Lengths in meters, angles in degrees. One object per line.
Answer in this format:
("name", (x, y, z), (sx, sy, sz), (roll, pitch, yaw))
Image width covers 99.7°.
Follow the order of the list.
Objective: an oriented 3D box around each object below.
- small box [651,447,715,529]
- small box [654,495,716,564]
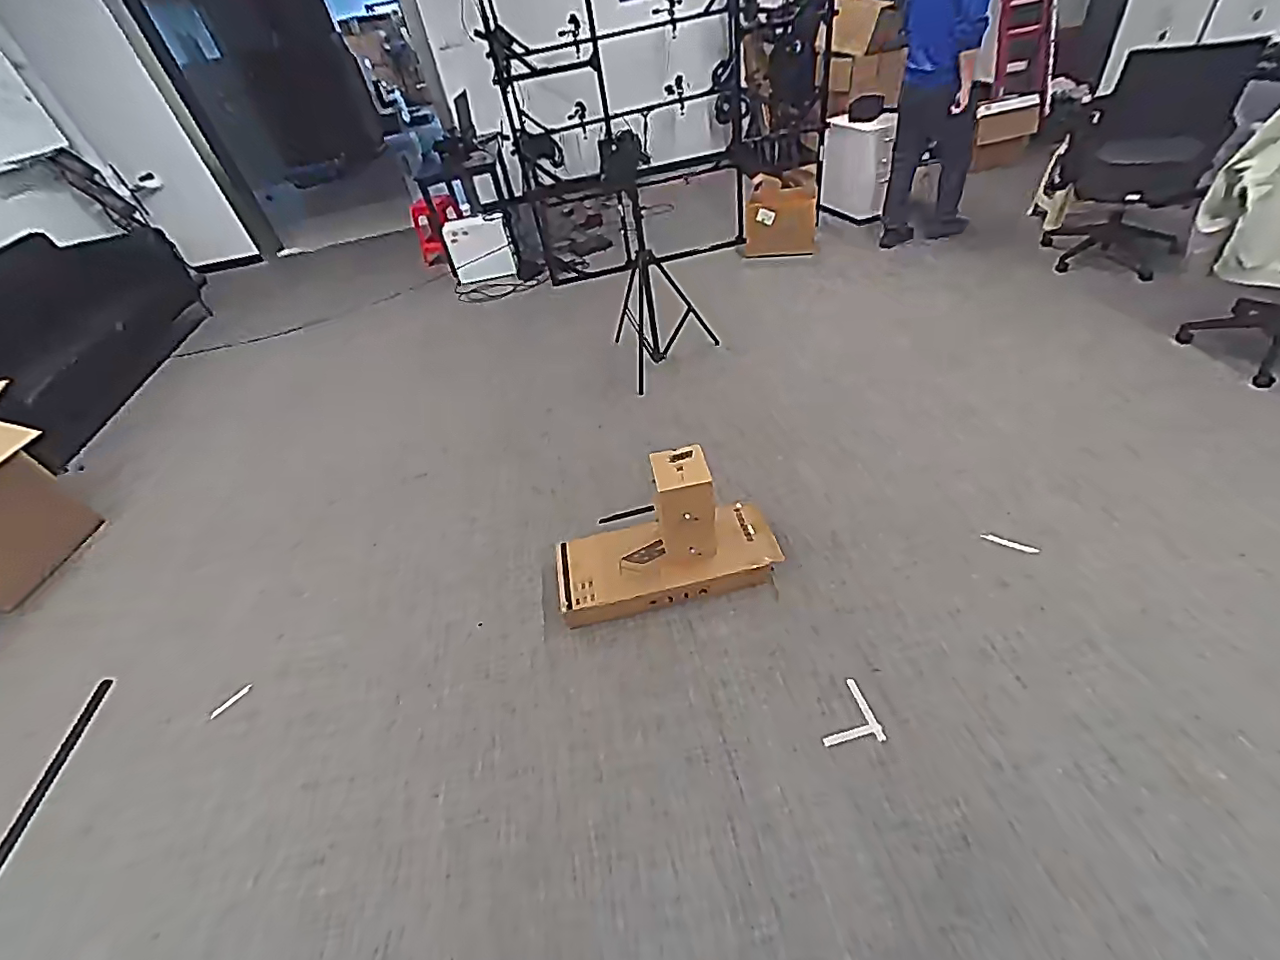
("small box", (0.134, 0.025, 1.691), (0.168, 0.176, 0.179), (-12, 42, 0))
("small box", (0.151, 0.149, 1.798), (0.168, 0.176, 0.179), (-14, 41, -2))
